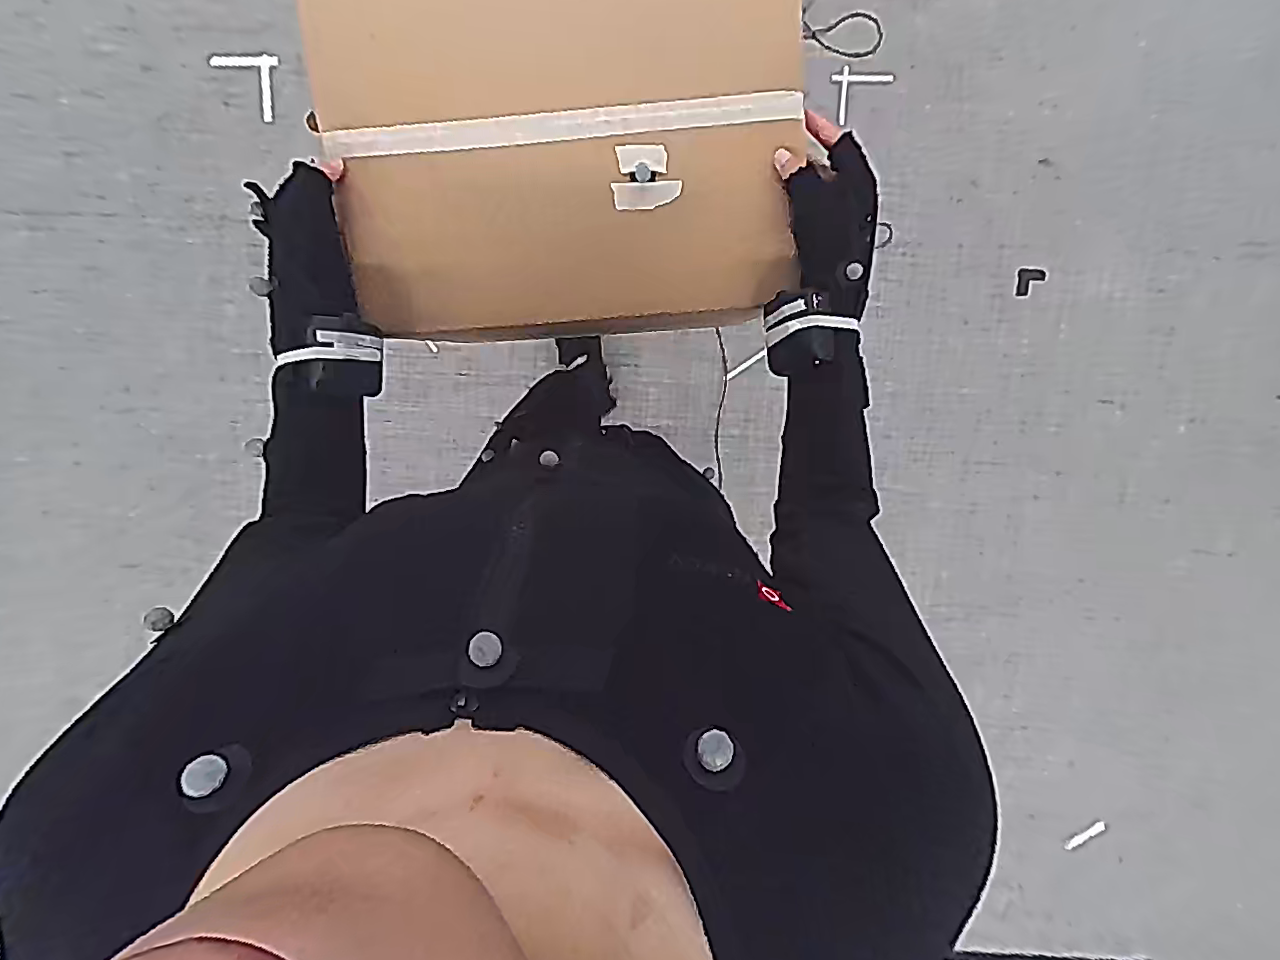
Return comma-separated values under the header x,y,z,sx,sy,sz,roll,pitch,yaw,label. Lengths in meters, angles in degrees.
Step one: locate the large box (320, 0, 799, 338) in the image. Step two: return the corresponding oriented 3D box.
x,y,z,sx,sy,sz,roll,pitch,yaw,label
-0.065,-0.345,0.621,0.408,0.320,0.320,-5,104,1,large box
